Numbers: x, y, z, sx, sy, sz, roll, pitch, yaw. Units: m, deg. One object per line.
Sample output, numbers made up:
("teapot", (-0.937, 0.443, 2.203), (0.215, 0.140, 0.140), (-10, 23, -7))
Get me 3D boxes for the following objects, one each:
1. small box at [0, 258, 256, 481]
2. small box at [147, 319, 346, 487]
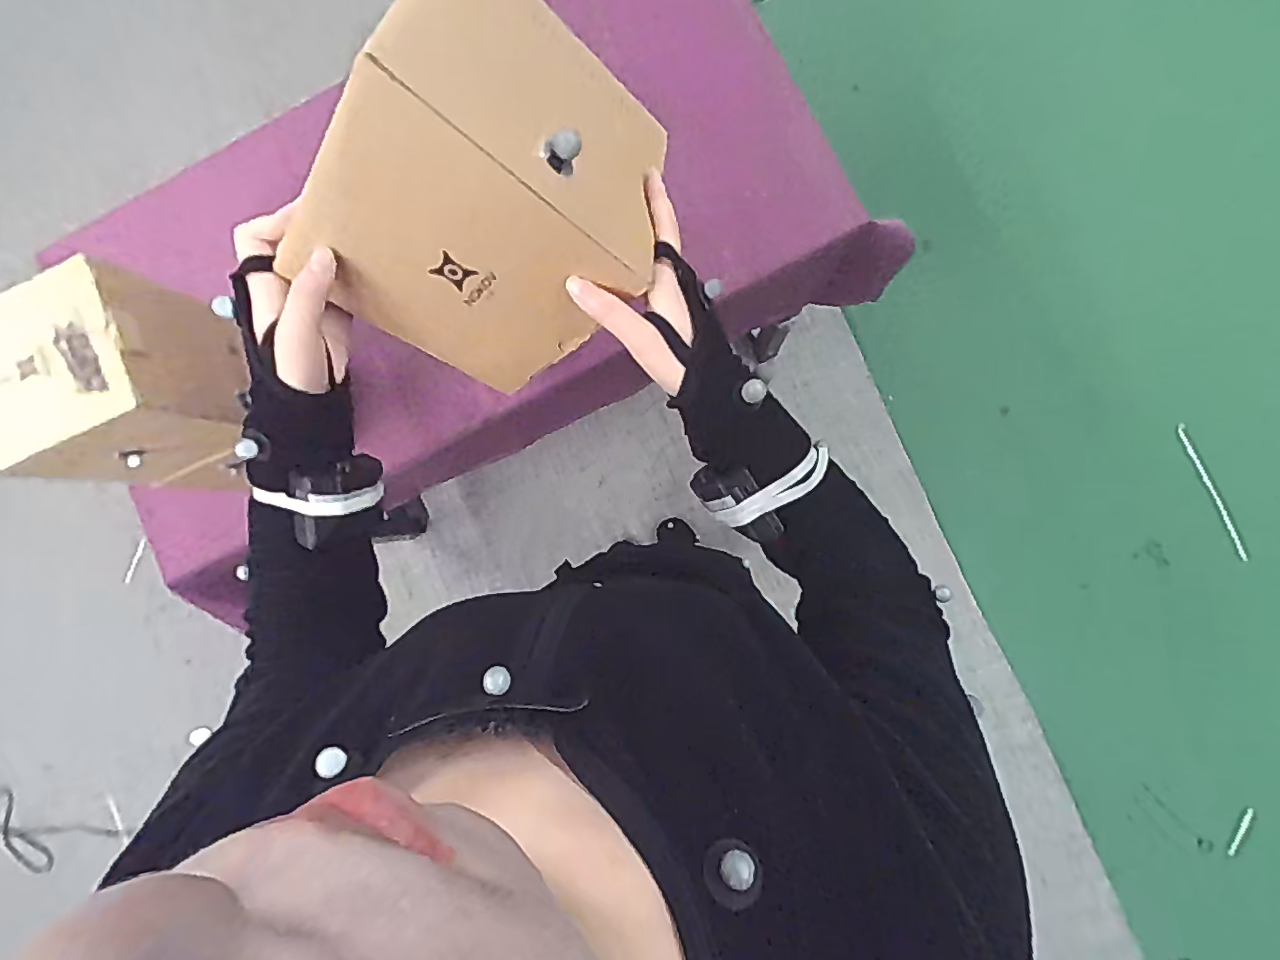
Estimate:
("small box", (-0.573, -0.106, 0.600), (0.179, 0.176, 0.168), (-24, 86, 4))
("small box", (-0.564, -0.094, 0.763), (0.179, 0.176, 0.168), (-23, 86, 3))
